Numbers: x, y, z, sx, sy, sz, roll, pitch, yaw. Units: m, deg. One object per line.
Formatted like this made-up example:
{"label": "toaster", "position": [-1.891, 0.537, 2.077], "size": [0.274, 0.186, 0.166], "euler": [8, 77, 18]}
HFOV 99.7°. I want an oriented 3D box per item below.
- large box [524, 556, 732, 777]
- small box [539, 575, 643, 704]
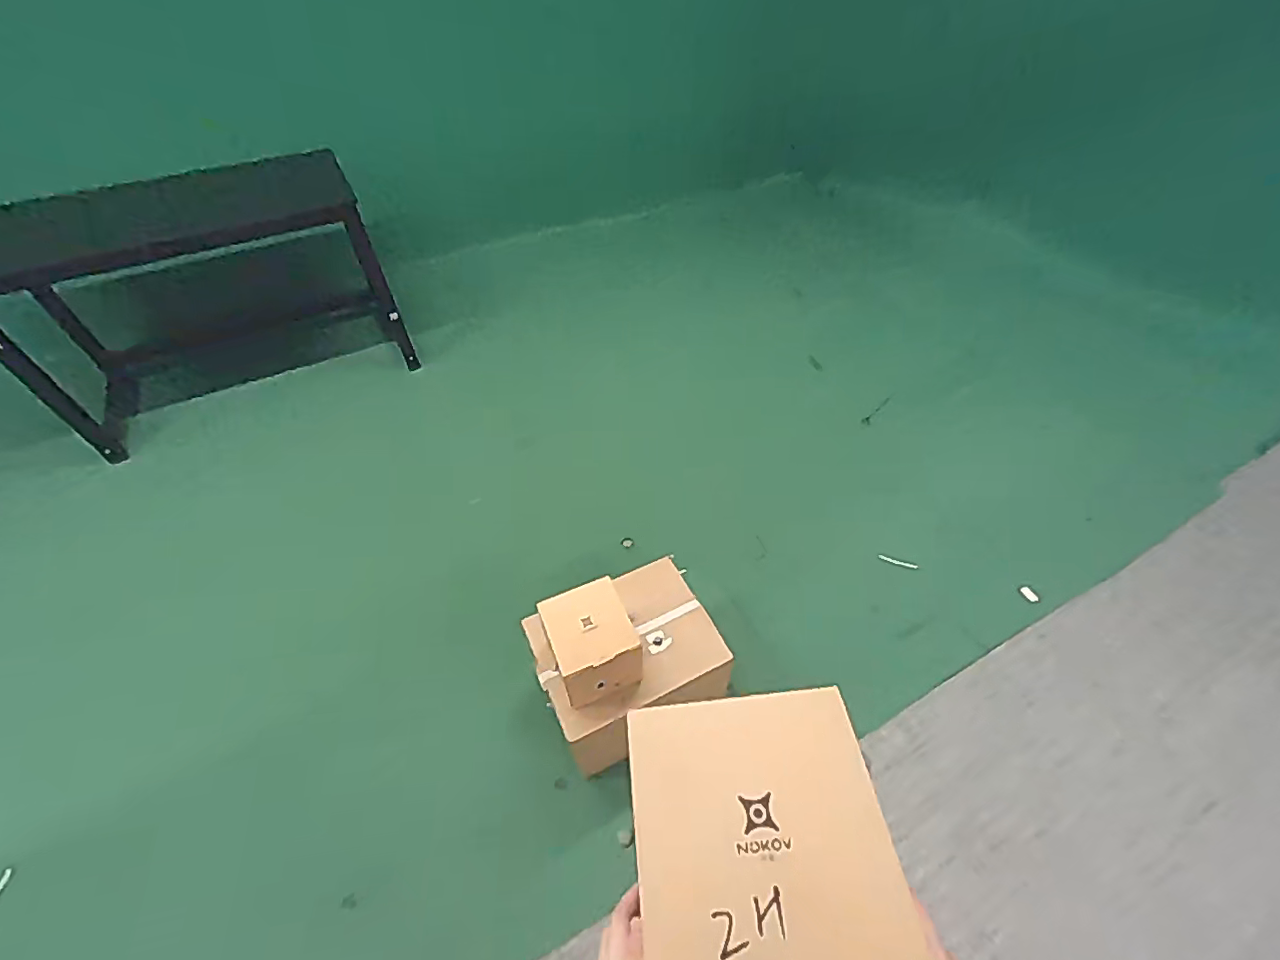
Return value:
{"label": "large box", "position": [-0.032, 0.464, 1.355], "size": [0.408, 0.320, 0.320], "euler": [-21, 52, -17]}
{"label": "small box", "position": [-0.103, 0.339, 1.143], "size": [0.168, 0.176, 0.179], "euler": [-19, 52, -16]}
